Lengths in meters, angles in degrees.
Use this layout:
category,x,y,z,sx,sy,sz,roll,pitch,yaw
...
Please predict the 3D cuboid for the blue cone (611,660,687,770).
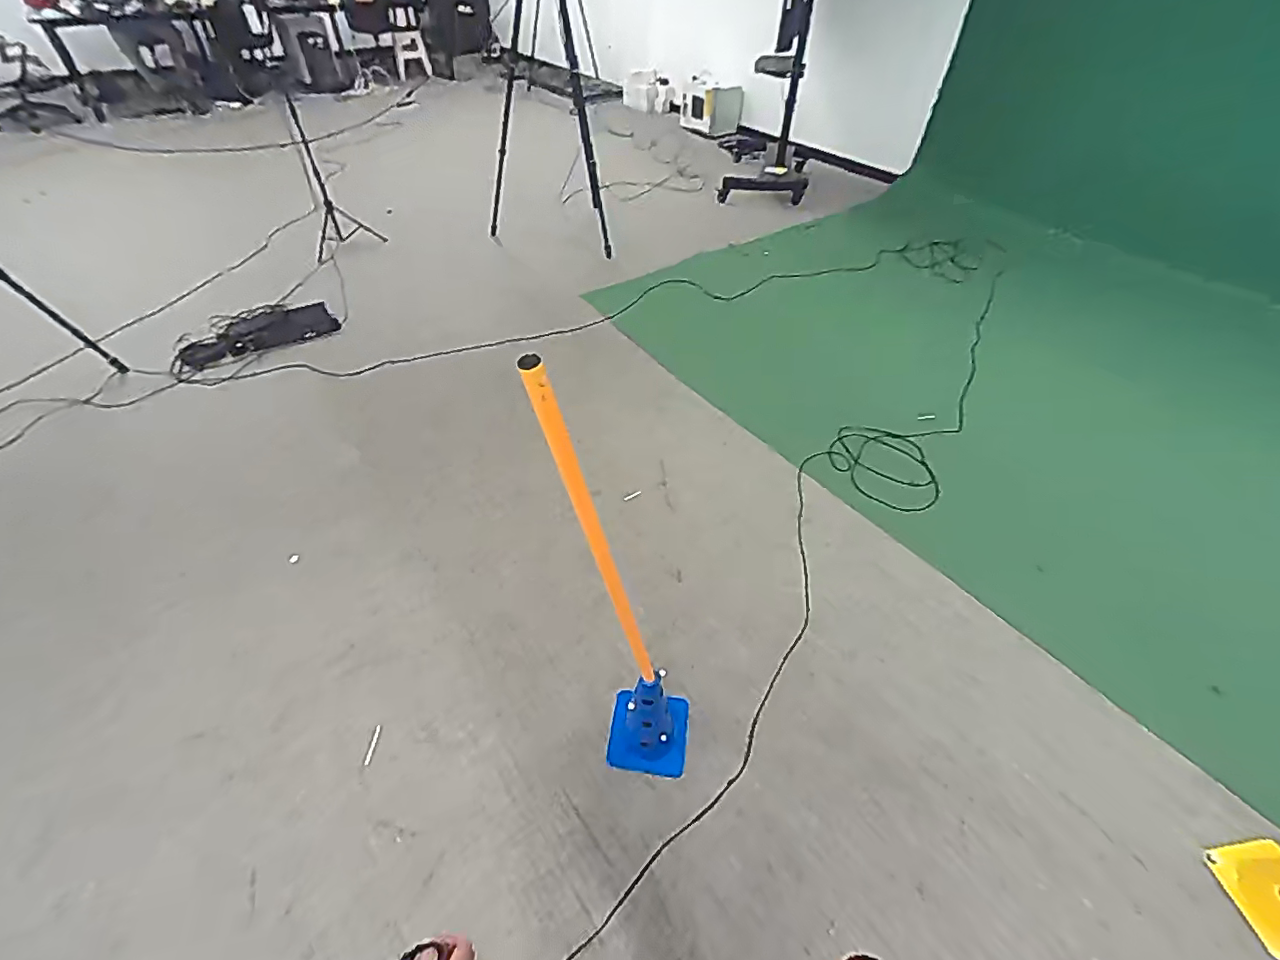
category,x,y,z,sx,sy,sz,roll,pitch,yaw
blue cone,0.021,0.535,1.285,0.193,0.380,0.192,5,48,6
